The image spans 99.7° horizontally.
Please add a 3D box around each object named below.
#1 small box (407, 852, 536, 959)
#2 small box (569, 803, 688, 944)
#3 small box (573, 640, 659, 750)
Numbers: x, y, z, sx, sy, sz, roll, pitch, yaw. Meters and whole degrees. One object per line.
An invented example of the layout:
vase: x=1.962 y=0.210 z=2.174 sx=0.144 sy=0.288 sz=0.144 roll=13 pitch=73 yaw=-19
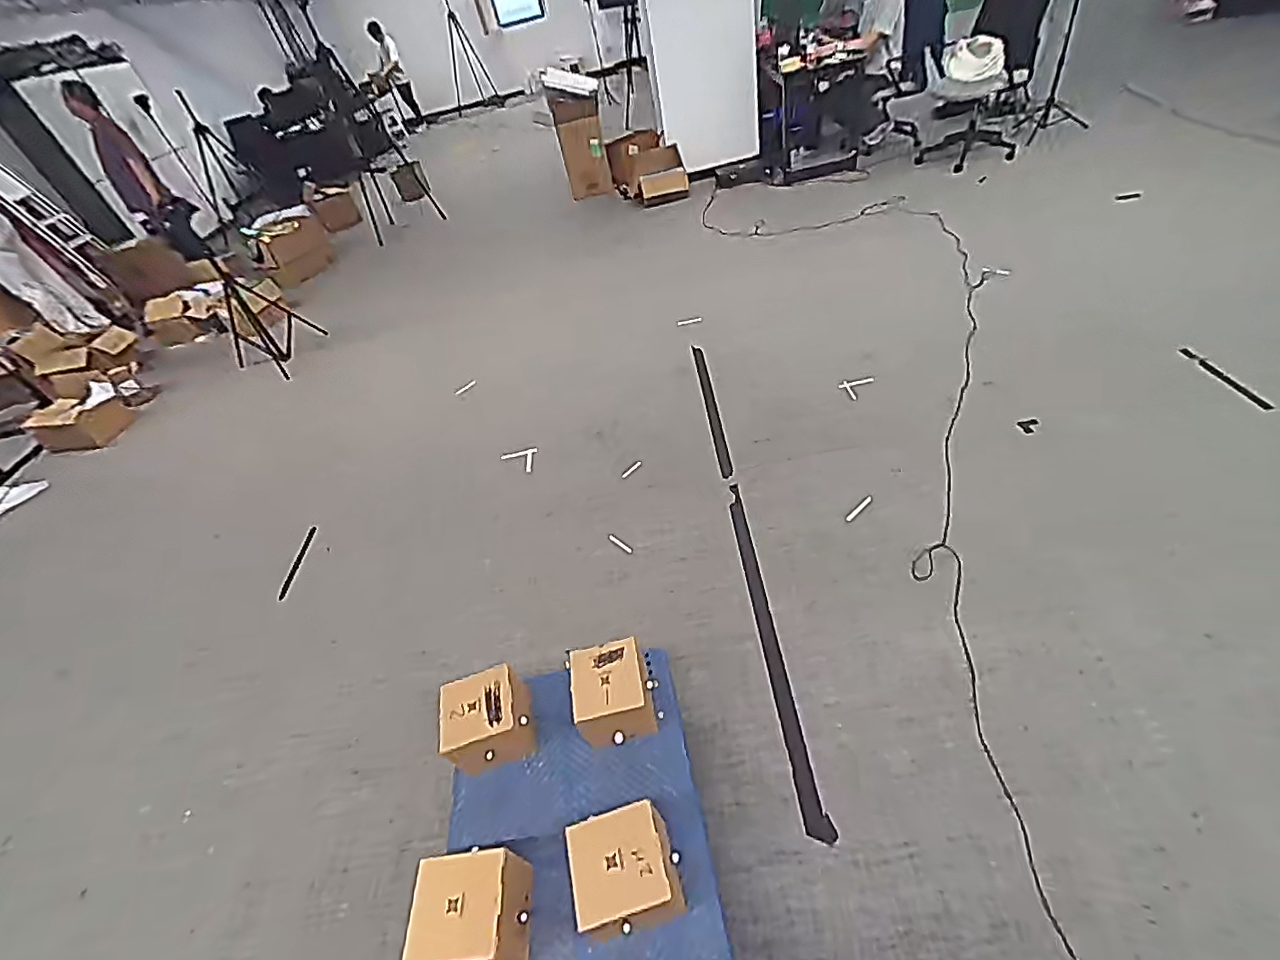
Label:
small box: x=-0.316 y=0.849 z=1.047 sx=0.179 sy=0.176 sz=0.168 roll=-11 pitch=43 yaw=3
small box: x=-0.021 y=0.763 z=1.045 sx=0.179 sy=0.176 sz=0.168 roll=-18 pitch=43 yaw=-2
small box: x=-0.058 y=0.520 z=1.307 sx=0.168 sy=0.176 sz=0.179 roll=-15 pitch=44 yaw=2
